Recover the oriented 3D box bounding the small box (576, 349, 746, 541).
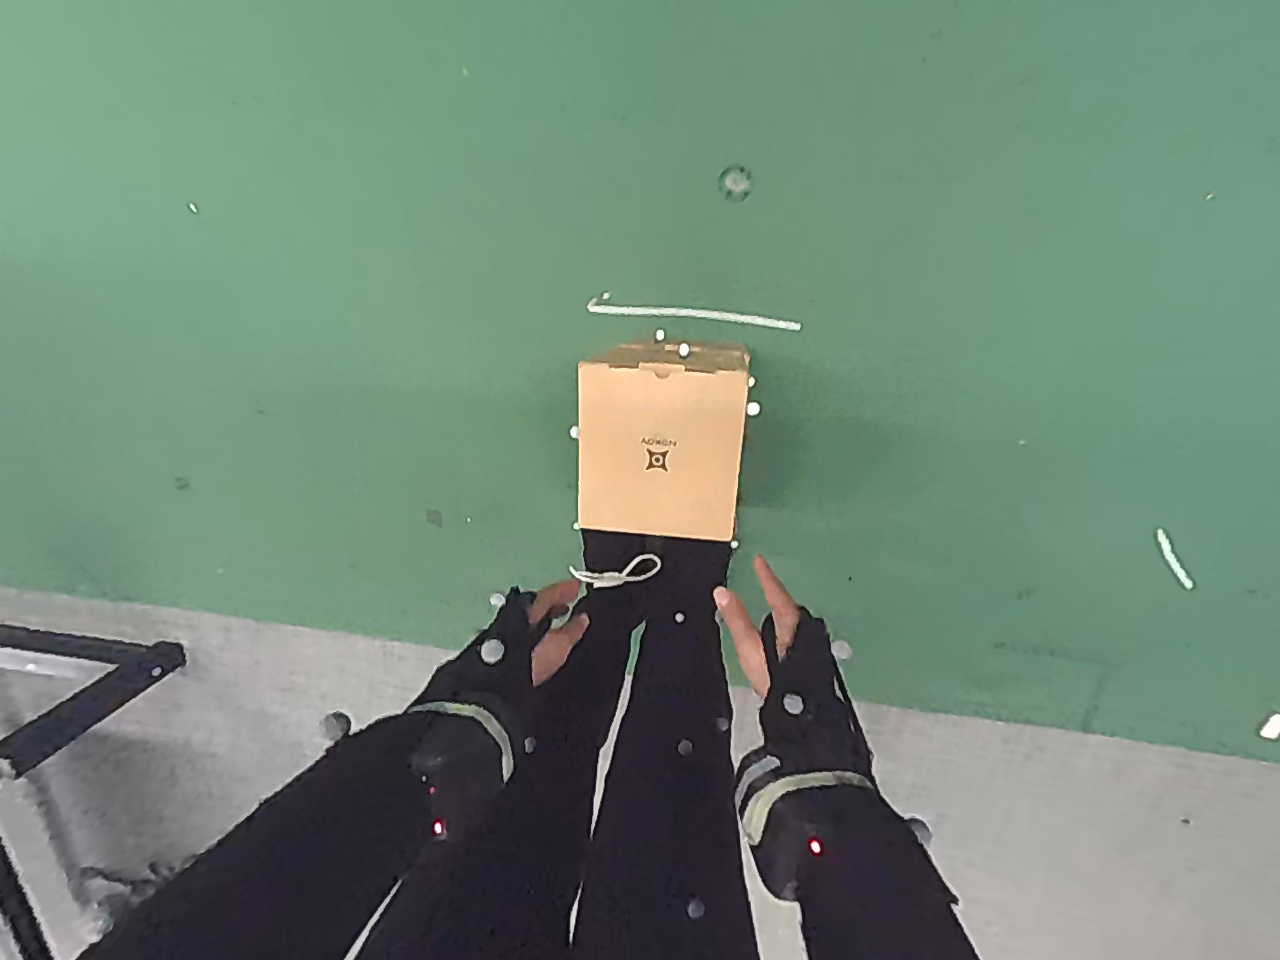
[{"bbox_3d":[0.028,-0.050,0.619,0.168,0.176,0.179,5,108,7],"label":"small box"}]

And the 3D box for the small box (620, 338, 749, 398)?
[{"bbox_3d":[0.058,-0.105,0.769,0.168,0.176,0.179,6,110,6],"label":"small box"}]
